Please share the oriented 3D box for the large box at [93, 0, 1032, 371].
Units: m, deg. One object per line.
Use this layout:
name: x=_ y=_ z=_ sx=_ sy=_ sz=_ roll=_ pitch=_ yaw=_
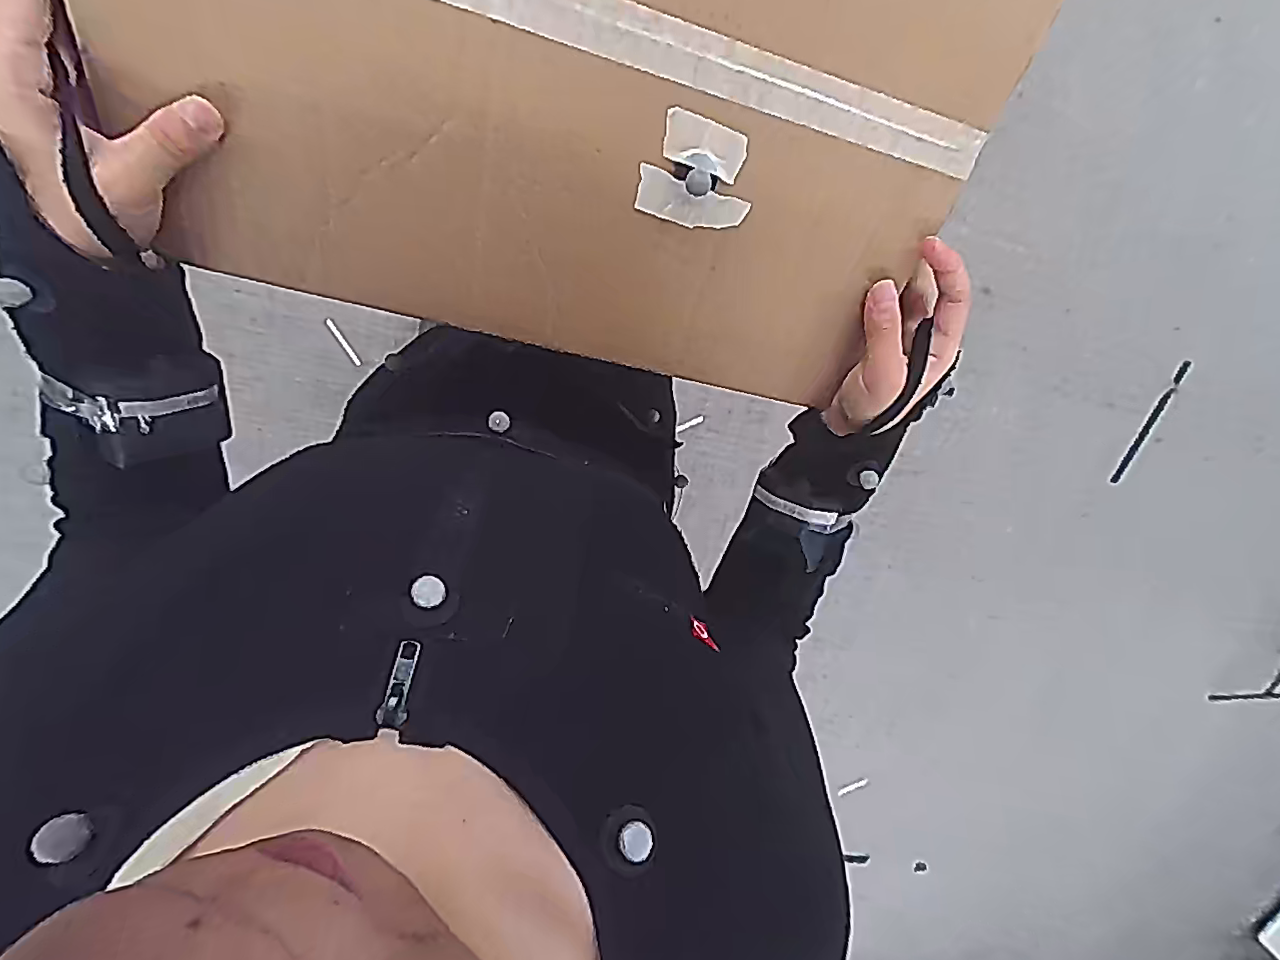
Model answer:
large box: x=-0.036 y=-0.312 z=0.350 sx=0.408 sy=0.320 sz=0.320 roll=10 pitch=129 yaw=-13
